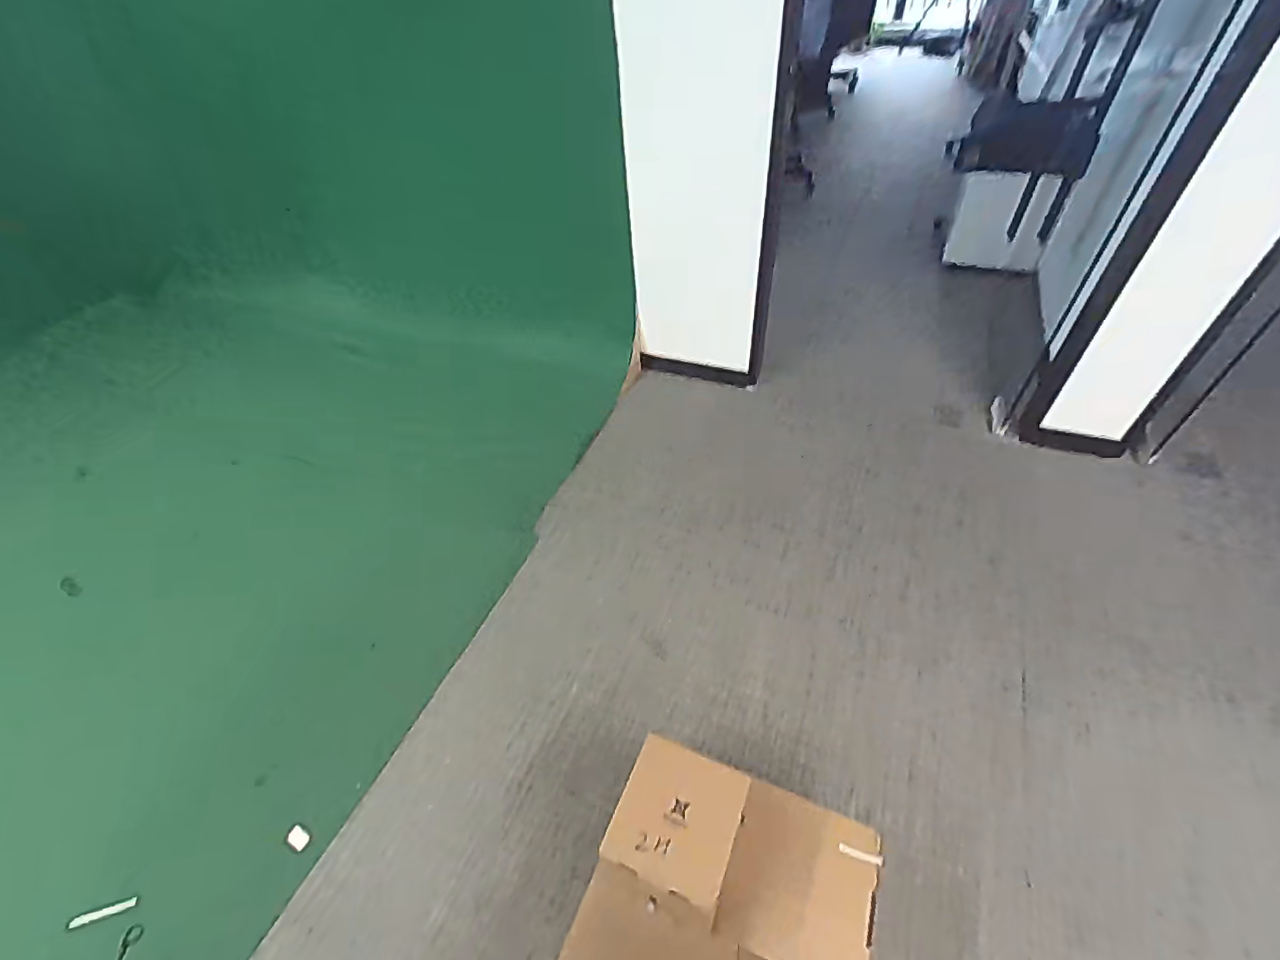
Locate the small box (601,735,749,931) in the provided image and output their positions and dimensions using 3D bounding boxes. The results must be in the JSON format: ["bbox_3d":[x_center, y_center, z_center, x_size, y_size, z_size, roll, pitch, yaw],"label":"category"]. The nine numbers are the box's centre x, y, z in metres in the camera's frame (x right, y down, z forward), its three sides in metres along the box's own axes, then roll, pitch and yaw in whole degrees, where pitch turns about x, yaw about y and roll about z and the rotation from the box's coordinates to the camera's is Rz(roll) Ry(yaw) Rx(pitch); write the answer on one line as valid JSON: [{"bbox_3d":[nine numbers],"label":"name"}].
[{"bbox_3d":[0.055,0.532,0.818,0.168,0.176,0.179,15,46,19],"label":"small box"}]
